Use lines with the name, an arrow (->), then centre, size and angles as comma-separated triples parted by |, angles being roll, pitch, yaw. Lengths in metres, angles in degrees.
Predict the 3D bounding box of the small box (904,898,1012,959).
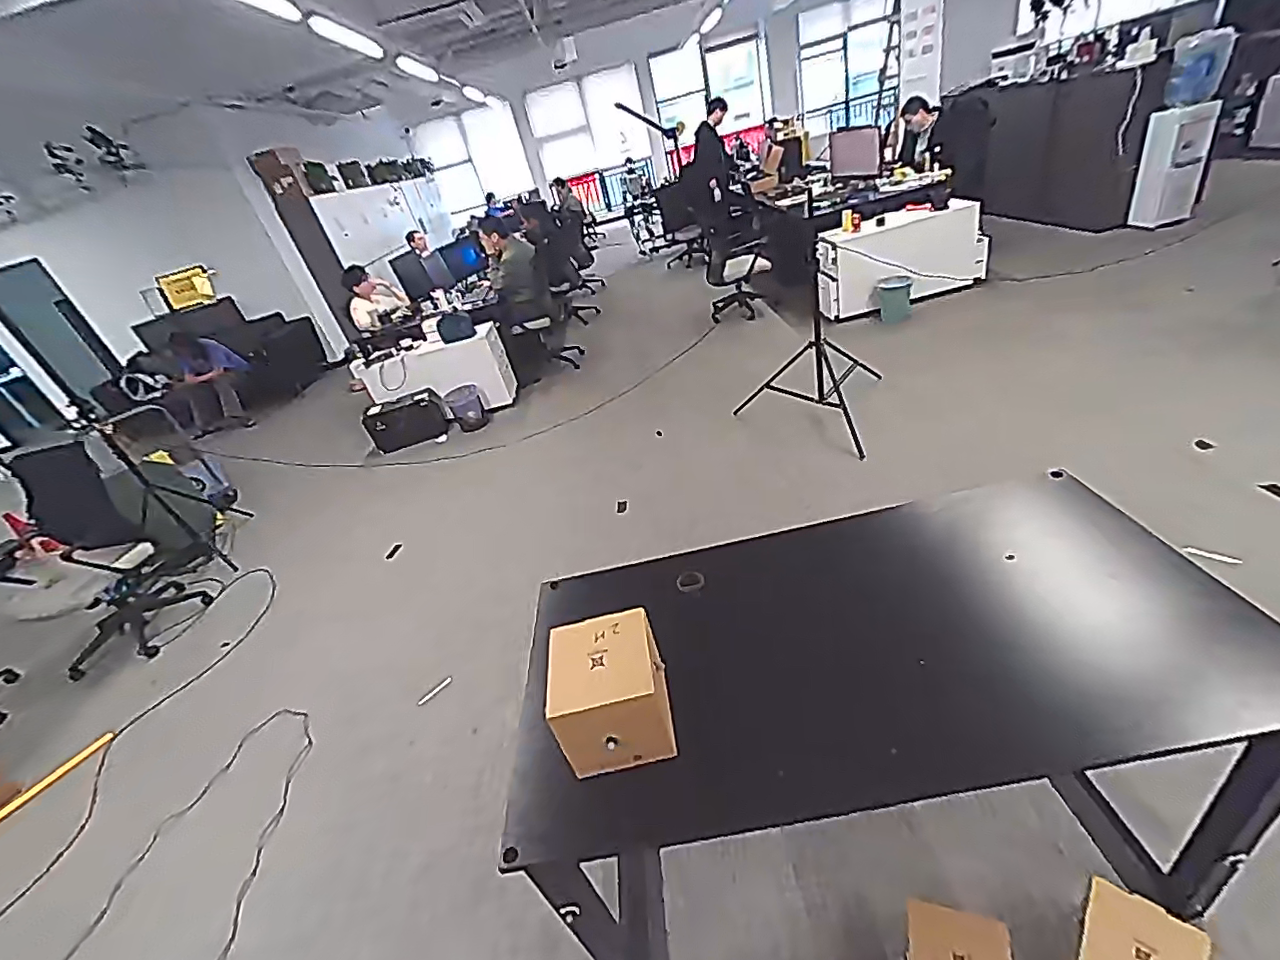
small box -> 0.613, 0.958, 1.044 | 0.179, 0.176, 0.168 | -3, 33, 23

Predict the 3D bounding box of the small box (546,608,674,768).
small box -> -0.047, 0.348, 0.897 | 0.168, 0.176, 0.179 | -14, 31, 2

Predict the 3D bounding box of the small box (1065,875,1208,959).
small box -> 0.906, 0.898, 0.999 | 0.168, 0.176, 0.179 | 14, 43, 40
